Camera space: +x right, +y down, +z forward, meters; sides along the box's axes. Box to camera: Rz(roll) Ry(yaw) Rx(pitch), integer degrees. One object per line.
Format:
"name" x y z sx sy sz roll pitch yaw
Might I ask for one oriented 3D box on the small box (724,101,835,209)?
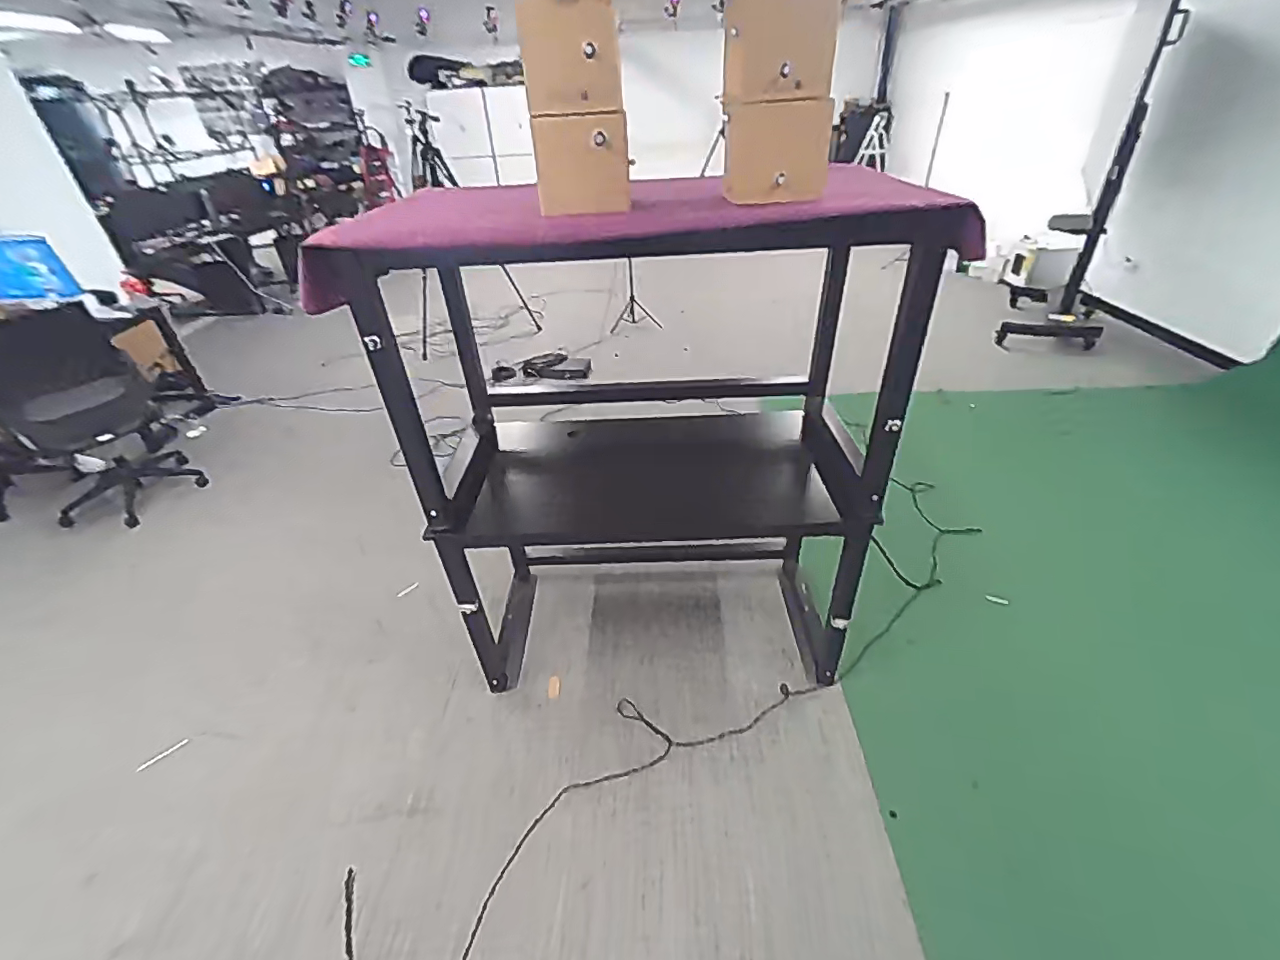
"small box" 0.266 -0.645 1.072 0.179 0.176 0.168 -2 33 2

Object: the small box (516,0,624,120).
"small box" -0.118 -0.766 0.998 0.168 0.176 0.179 -1 34 3

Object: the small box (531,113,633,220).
"small box" -0.107 -0.631 1.088 0.179 0.176 0.168 -2 34 3
